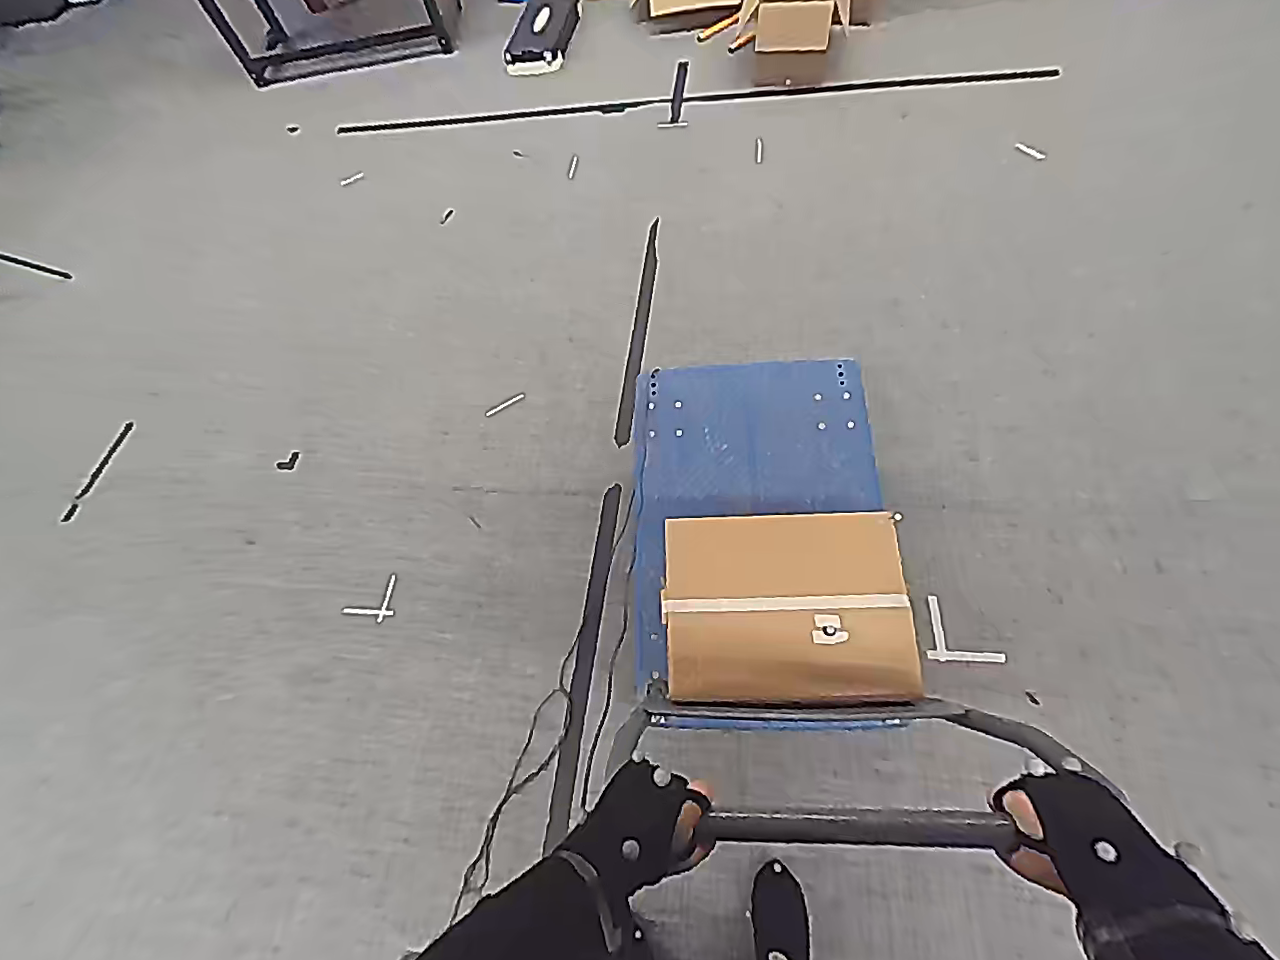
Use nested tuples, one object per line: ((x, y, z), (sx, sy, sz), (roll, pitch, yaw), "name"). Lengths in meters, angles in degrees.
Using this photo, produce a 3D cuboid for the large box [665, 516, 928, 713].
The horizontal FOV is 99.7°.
((0.259, 0.268, 1.041), (0.408, 0.320, 0.320), (-2, 71, 5), "large box")
